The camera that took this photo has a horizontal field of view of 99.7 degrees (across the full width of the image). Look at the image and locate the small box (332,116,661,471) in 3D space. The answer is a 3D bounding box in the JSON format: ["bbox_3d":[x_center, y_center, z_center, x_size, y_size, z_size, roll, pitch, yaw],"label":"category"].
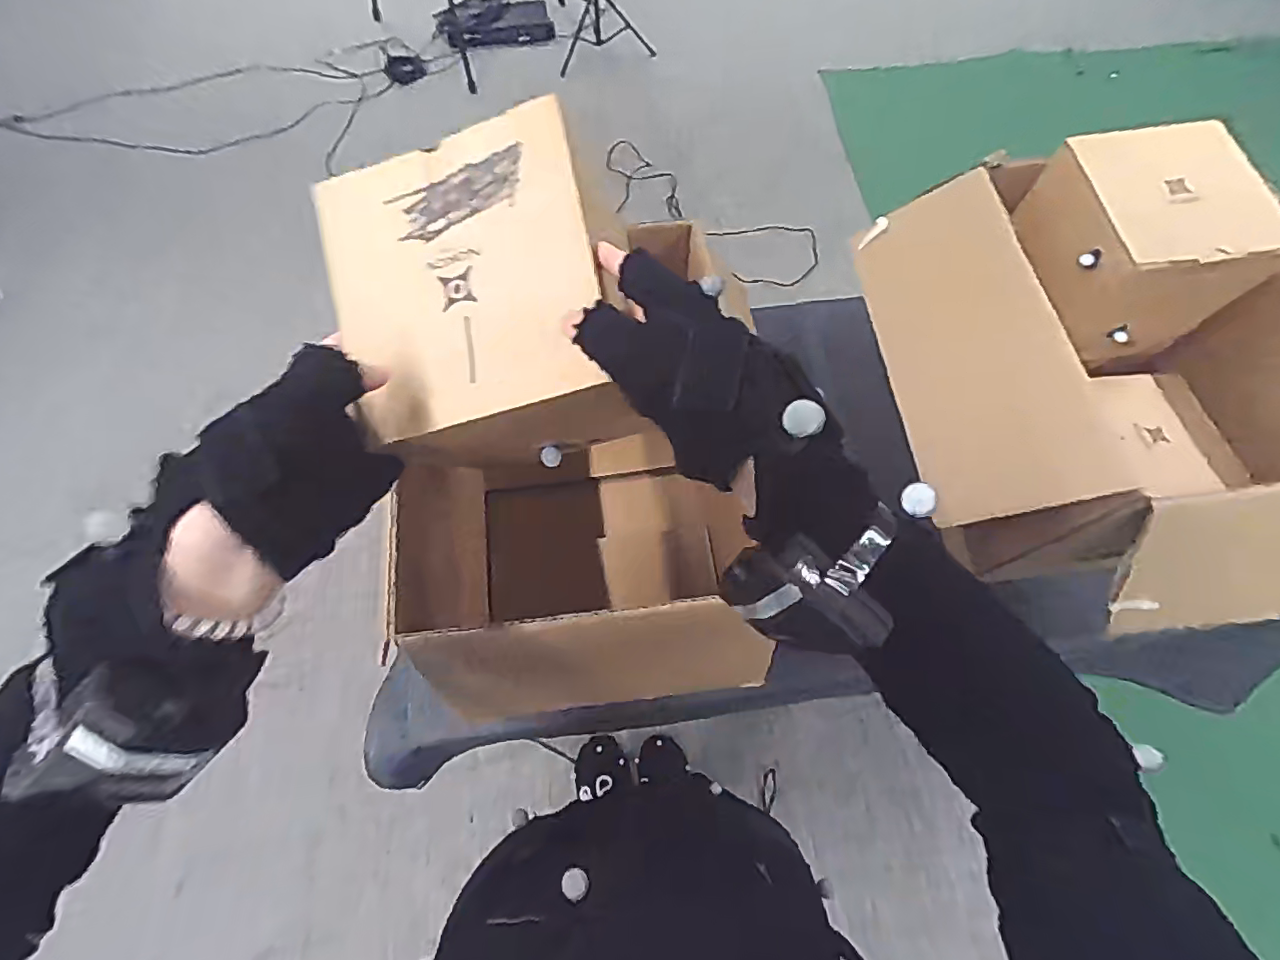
[{"bbox_3d":[-0.088,-0.111,0.402,0.168,0.176,0.179,-12,85,10],"label":"small box"}]
